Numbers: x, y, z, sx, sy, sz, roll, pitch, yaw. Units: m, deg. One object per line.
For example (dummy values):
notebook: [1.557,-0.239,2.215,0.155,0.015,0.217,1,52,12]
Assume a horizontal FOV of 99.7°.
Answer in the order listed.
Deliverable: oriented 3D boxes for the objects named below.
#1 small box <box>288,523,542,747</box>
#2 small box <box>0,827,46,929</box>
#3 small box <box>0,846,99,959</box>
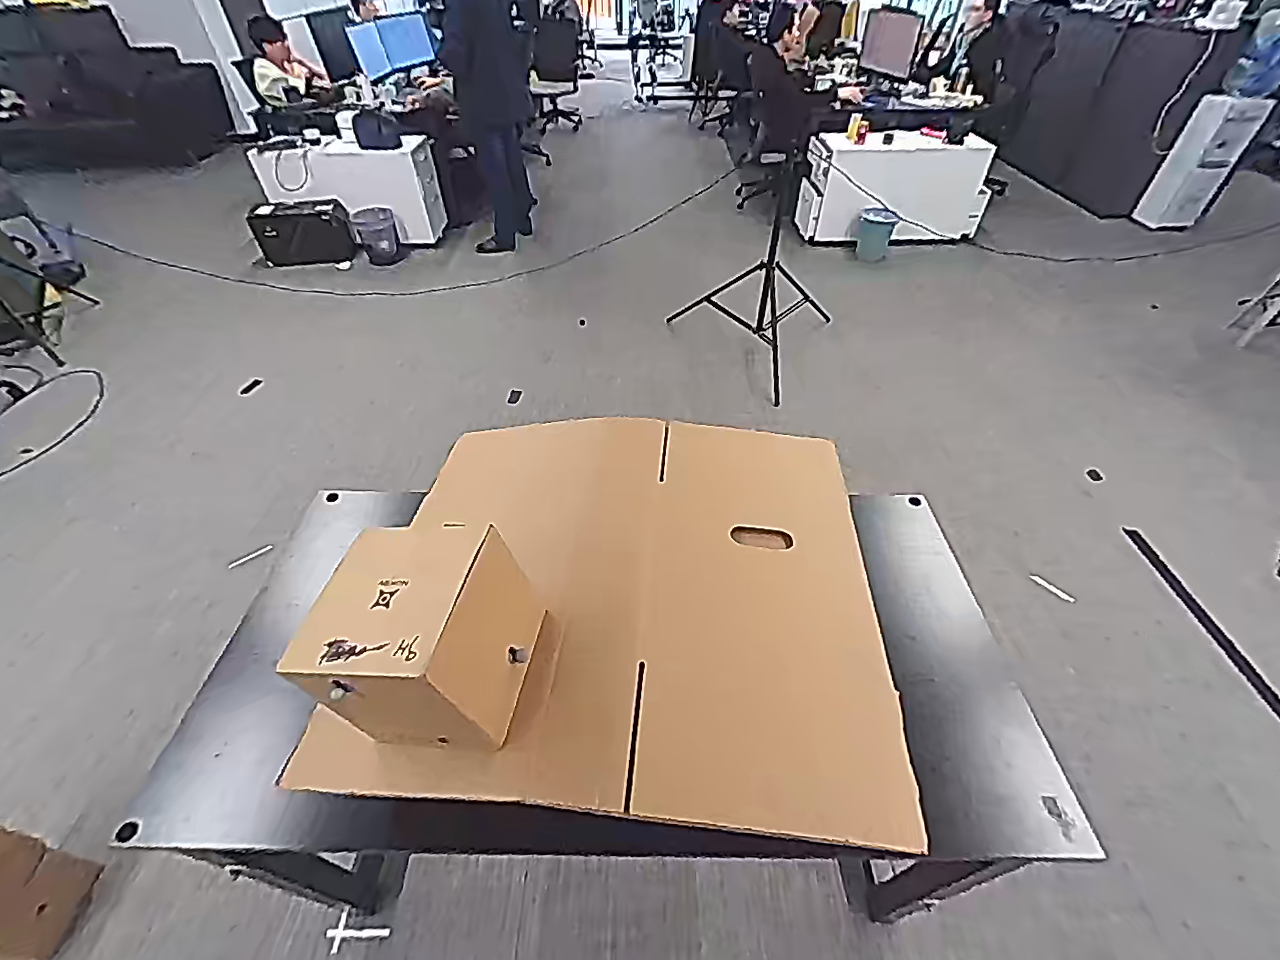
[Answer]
small box: [-0.225,0.169,0.599,0.168,0.176,0.179,-4,43,16]
small box: [-1.316,0.775,1.025,0.168,0.176,0.179,-4,44,-5]
small box: [-1.313,0.895,1.135,0.168,0.176,0.179,-3,45,-2]
